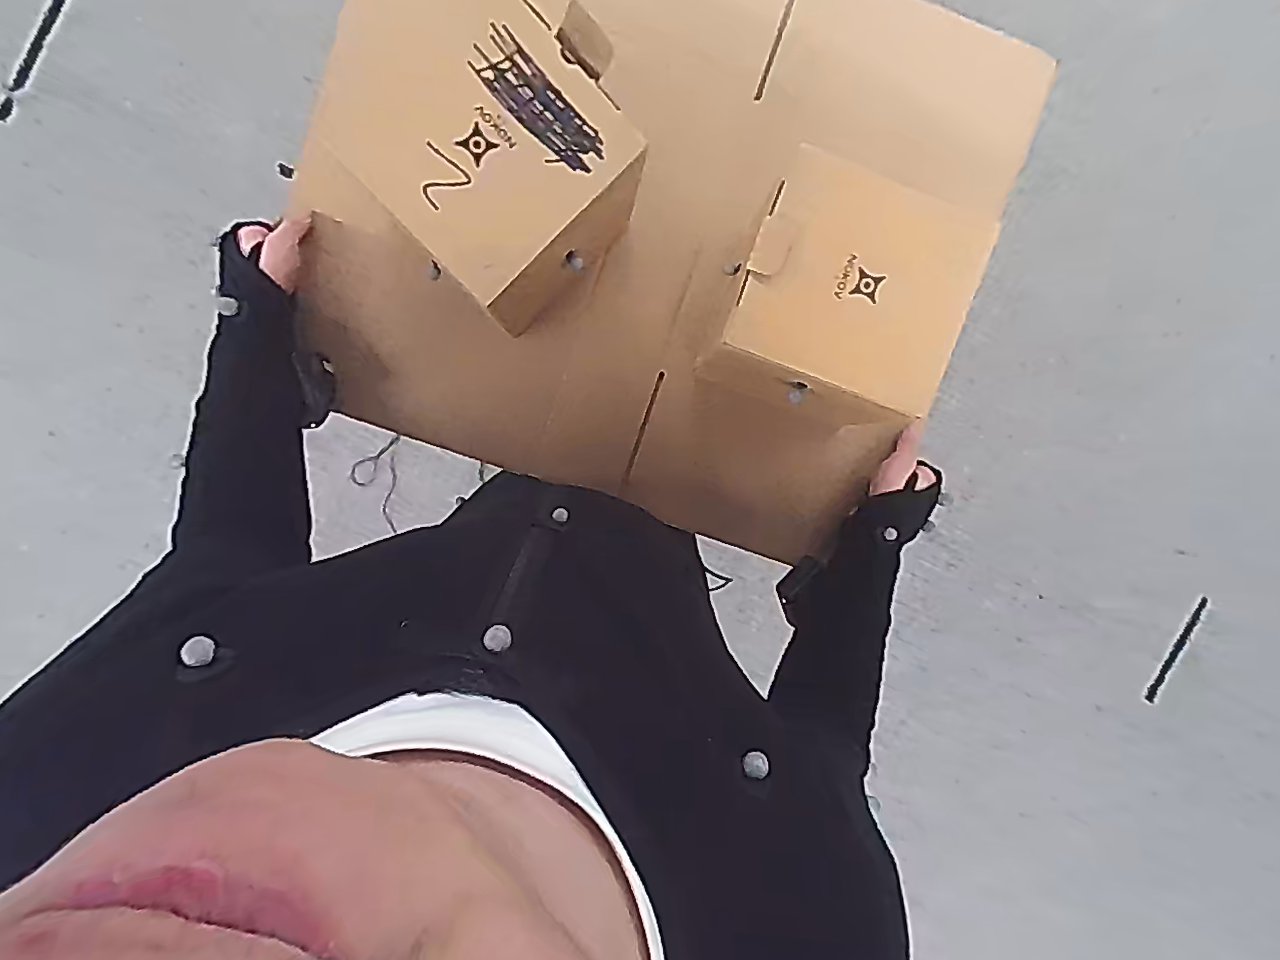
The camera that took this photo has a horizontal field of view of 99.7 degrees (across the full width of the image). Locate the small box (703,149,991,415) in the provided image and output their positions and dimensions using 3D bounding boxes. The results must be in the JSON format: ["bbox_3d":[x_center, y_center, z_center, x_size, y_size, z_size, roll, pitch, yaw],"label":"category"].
[{"bbox_3d":[0.176,-0.166,0.518,0.179,0.176,0.168,20,93,-2],"label":"small box"}]
